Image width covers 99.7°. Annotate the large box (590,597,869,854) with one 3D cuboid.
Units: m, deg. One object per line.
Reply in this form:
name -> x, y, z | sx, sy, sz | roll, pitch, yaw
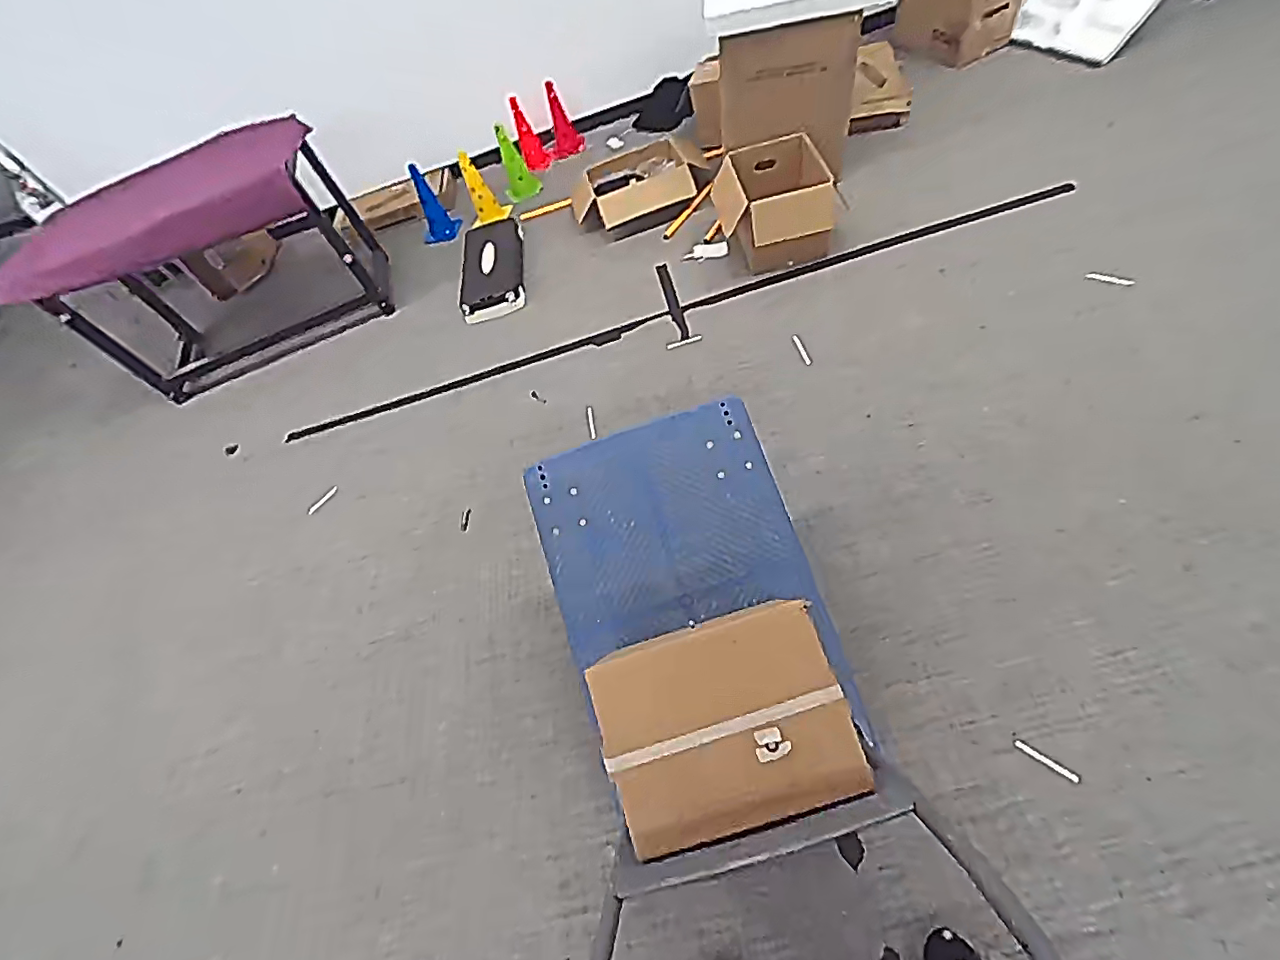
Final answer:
large box -> 0.156, 0.446, 1.066 | 0.408, 0.320, 0.320 | -19, 77, 1
